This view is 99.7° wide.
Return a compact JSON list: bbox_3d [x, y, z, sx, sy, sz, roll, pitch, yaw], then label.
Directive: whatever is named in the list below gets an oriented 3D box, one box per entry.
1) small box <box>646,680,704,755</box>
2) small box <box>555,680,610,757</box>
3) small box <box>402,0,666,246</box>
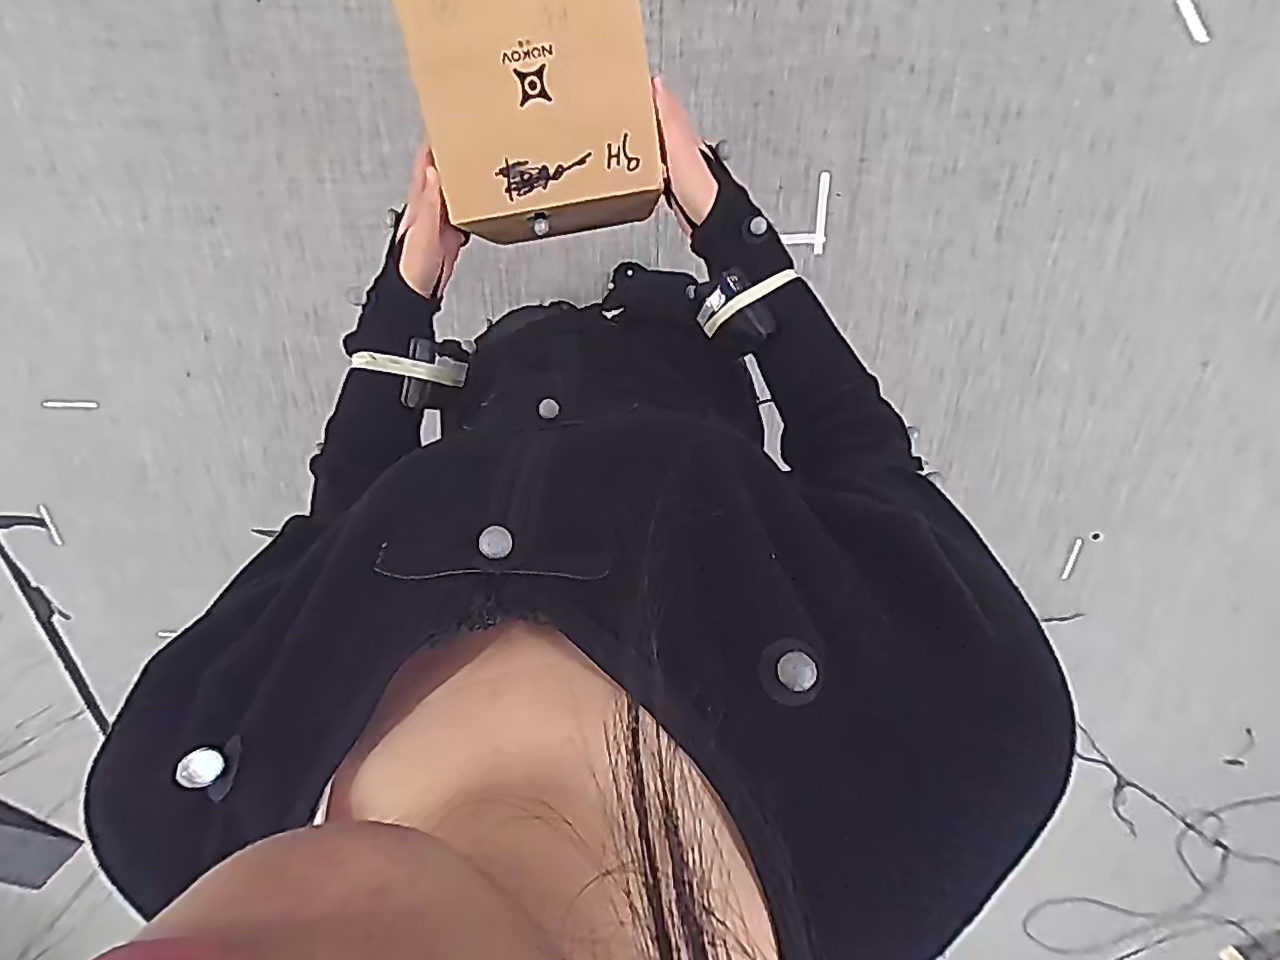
[{"bbox_3d":[0.114,0.799,1.829,0.179,0.176,0.168,4,113,0],"label":"small box"},{"bbox_3d":[-0.191,0.809,1.839,0.168,0.176,0.179,0,113,1],"label":"small box"},{"bbox_3d":[-0.077,-0.309,0.454,0.168,0.176,0.179,-9,108,1],"label":"small box"}]
